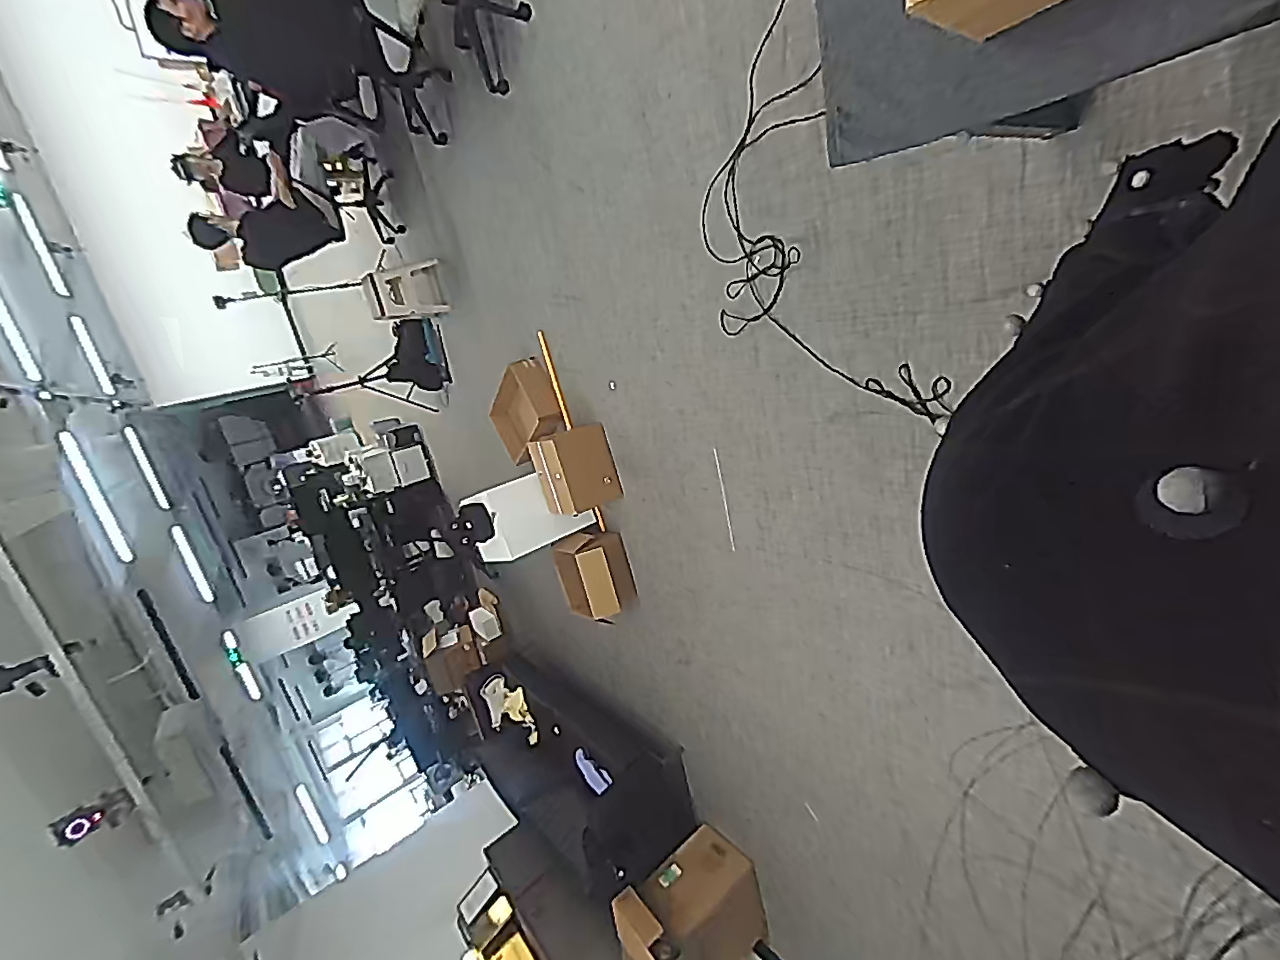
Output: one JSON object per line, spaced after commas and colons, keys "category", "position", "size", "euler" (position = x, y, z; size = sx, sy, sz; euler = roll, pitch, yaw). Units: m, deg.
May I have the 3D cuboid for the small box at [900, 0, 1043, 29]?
{"category": "small box", "position": [0.339, -0.526, 0.453], "size": [0.179, 0.176, 0.168], "euler": [9, 115, 52]}
